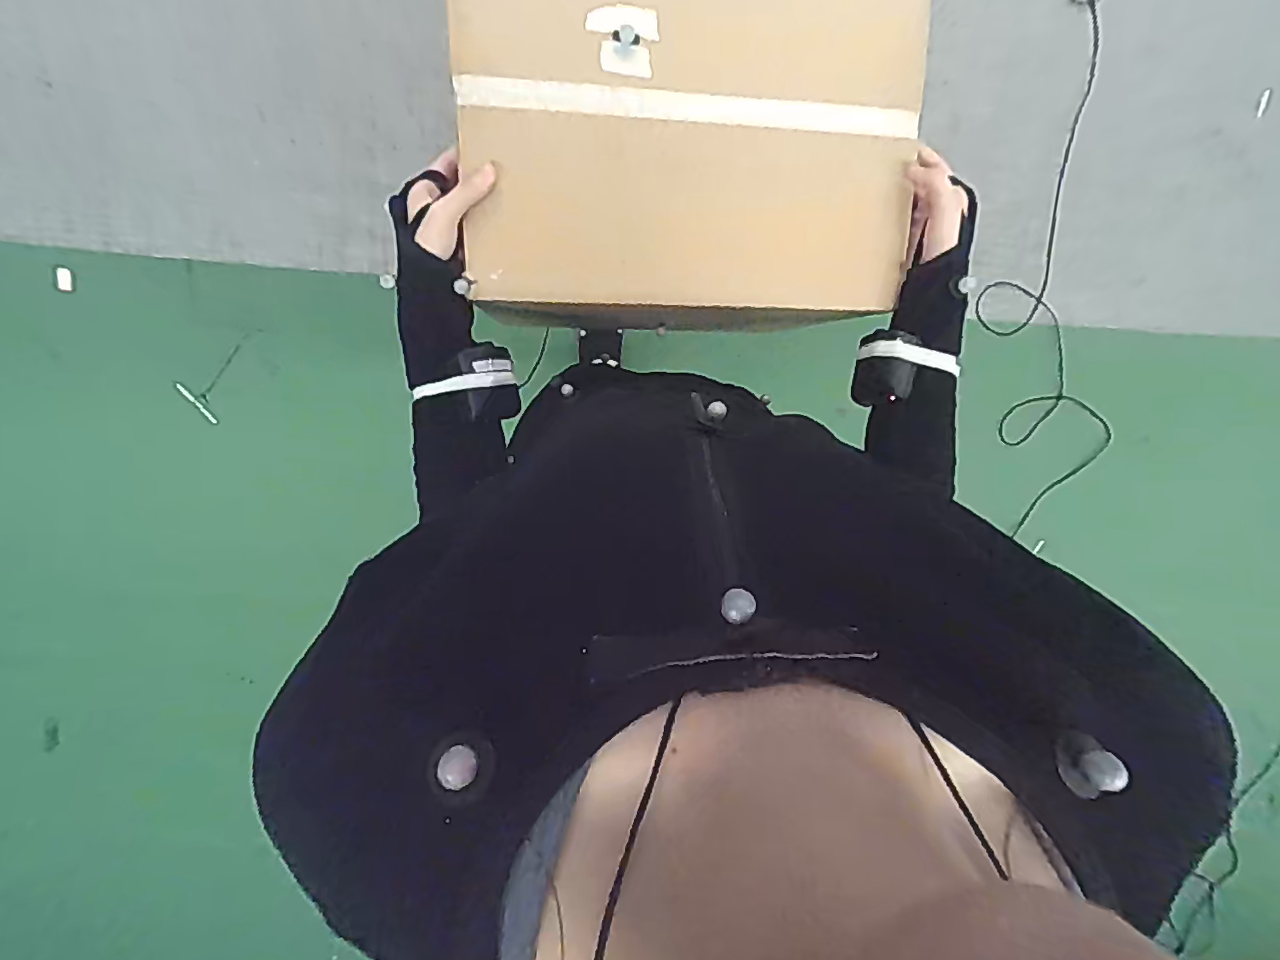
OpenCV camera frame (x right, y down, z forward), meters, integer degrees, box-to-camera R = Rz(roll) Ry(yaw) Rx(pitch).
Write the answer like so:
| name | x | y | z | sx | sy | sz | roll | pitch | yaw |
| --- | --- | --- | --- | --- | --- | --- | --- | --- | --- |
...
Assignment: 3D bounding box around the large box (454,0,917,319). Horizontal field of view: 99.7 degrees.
| name | x | y | z | sx | sy | sz | roll | pitch | yaw |
| --- | --- | --- | --- | --- | --- | --- | --- | --- | --- |
| large box | 0.028 | -0.350 | 0.617 | 0.408 | 0.320 | 0.320 | -1 | 102 | -8 |
